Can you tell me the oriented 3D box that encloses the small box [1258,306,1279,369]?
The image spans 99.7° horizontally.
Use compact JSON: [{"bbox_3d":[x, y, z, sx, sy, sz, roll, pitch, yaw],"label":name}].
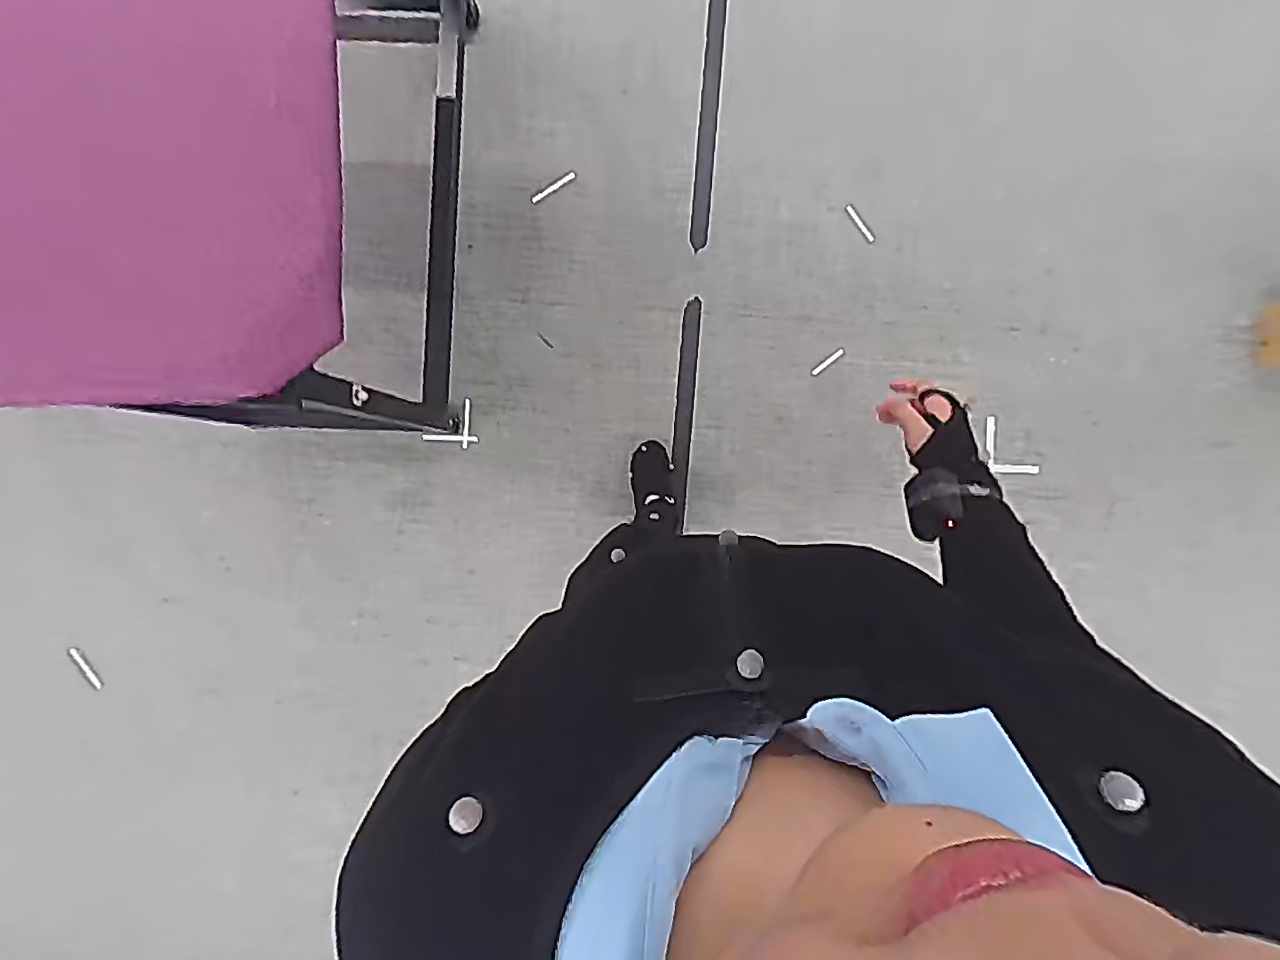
[{"bbox_3d":[1.805,-0.385,1.423,0.179,0.176,0.168,6,90,0],"label":"small box"}]
